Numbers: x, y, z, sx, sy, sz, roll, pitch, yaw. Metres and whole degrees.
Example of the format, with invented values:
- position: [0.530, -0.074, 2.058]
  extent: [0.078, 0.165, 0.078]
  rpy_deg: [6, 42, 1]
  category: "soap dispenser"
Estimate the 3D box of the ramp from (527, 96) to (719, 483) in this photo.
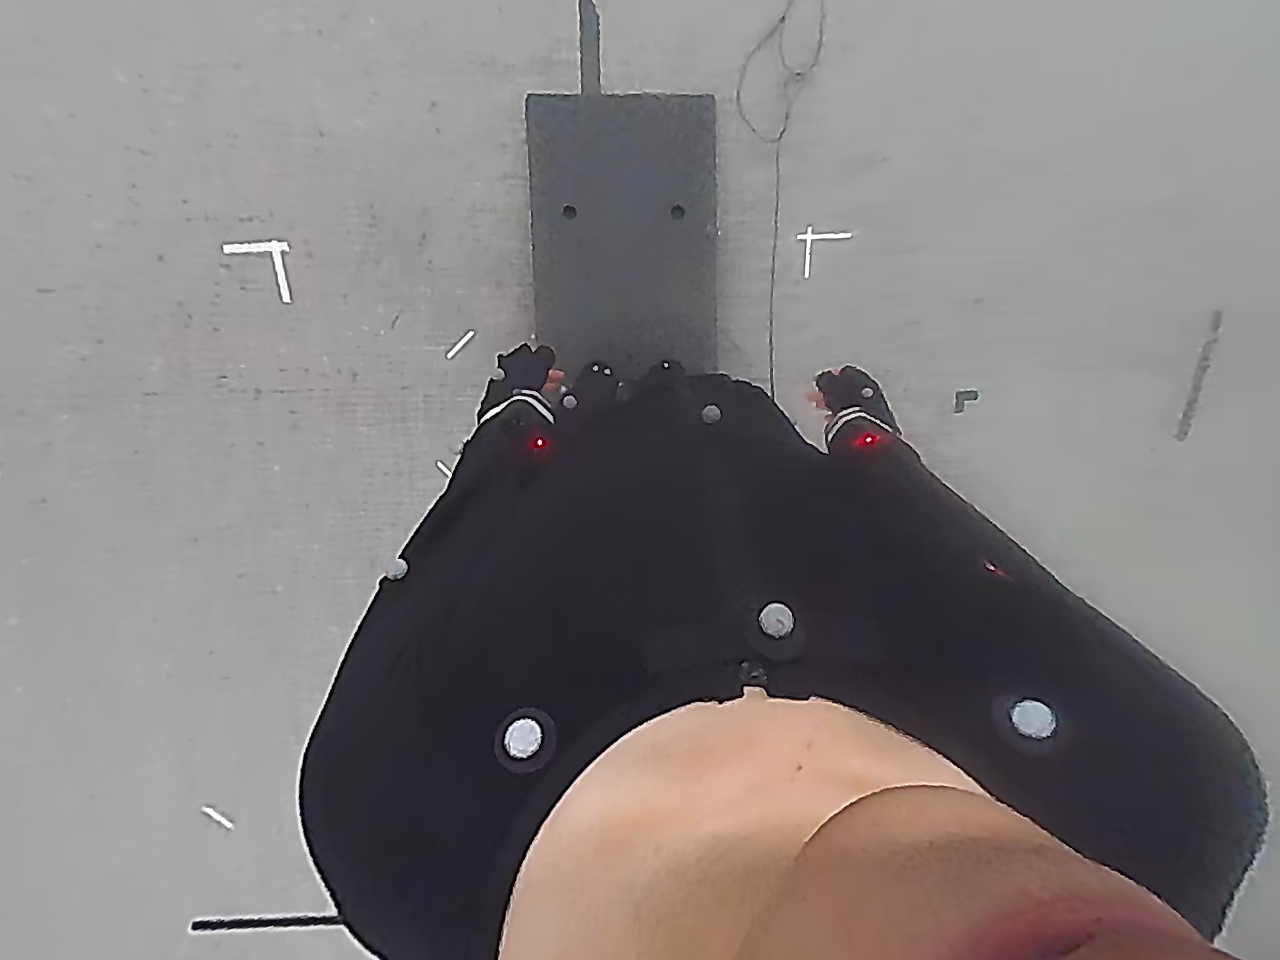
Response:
- position: [-0.039, -0.494, 1.448]
  extent: [0.509, 0.206, 0.991]
  rpy_deg: [-3, 106, 0]
  category: "ramp"
